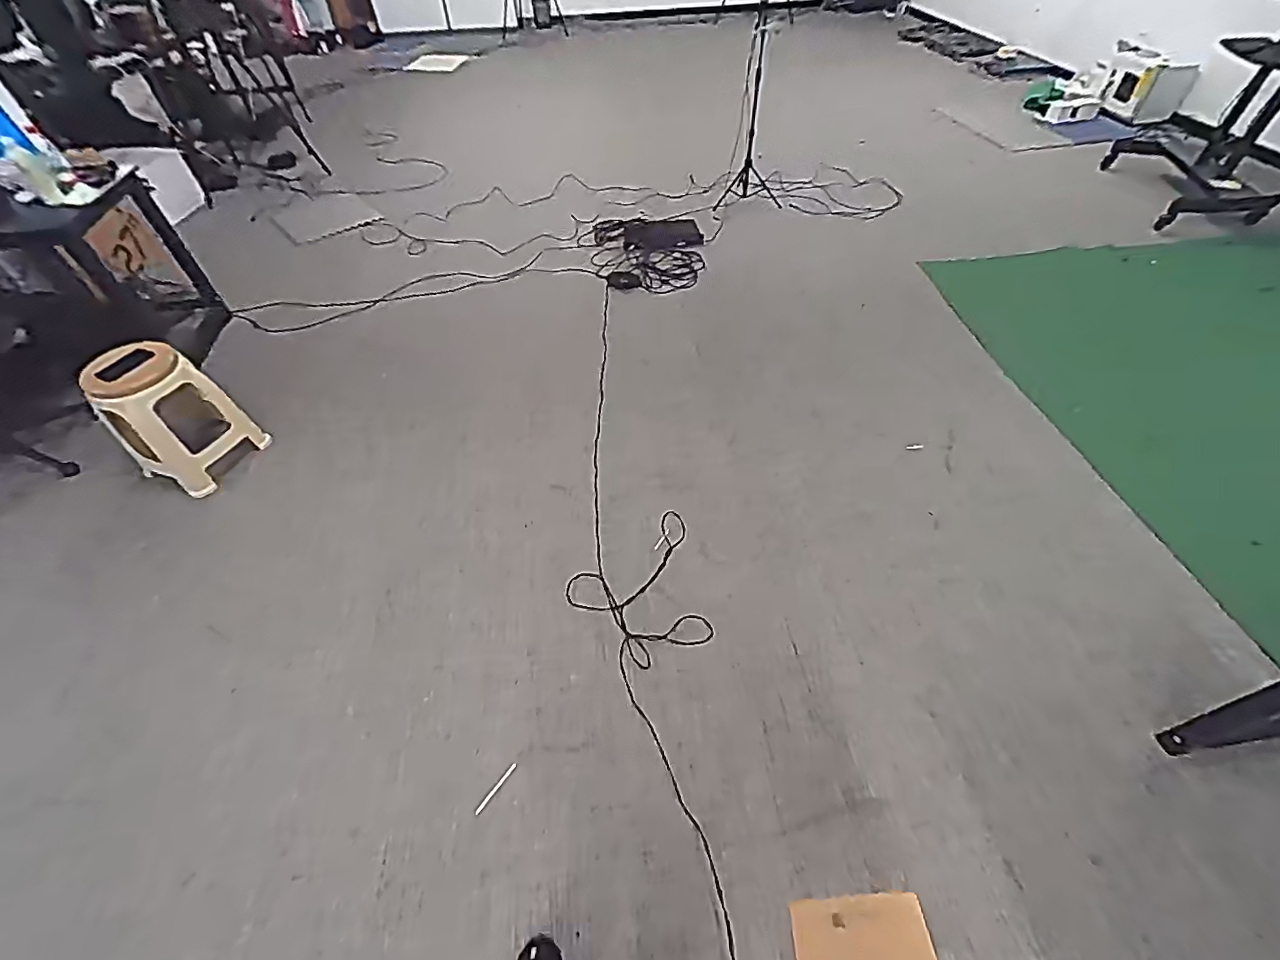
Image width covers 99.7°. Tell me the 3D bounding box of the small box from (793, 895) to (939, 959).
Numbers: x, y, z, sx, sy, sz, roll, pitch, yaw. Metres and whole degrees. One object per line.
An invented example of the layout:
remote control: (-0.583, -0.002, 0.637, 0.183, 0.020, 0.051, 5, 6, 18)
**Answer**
small box: (0.299, 0.653, 0.683, 0.168, 0.179, 0.176, -13, 32, 15)
